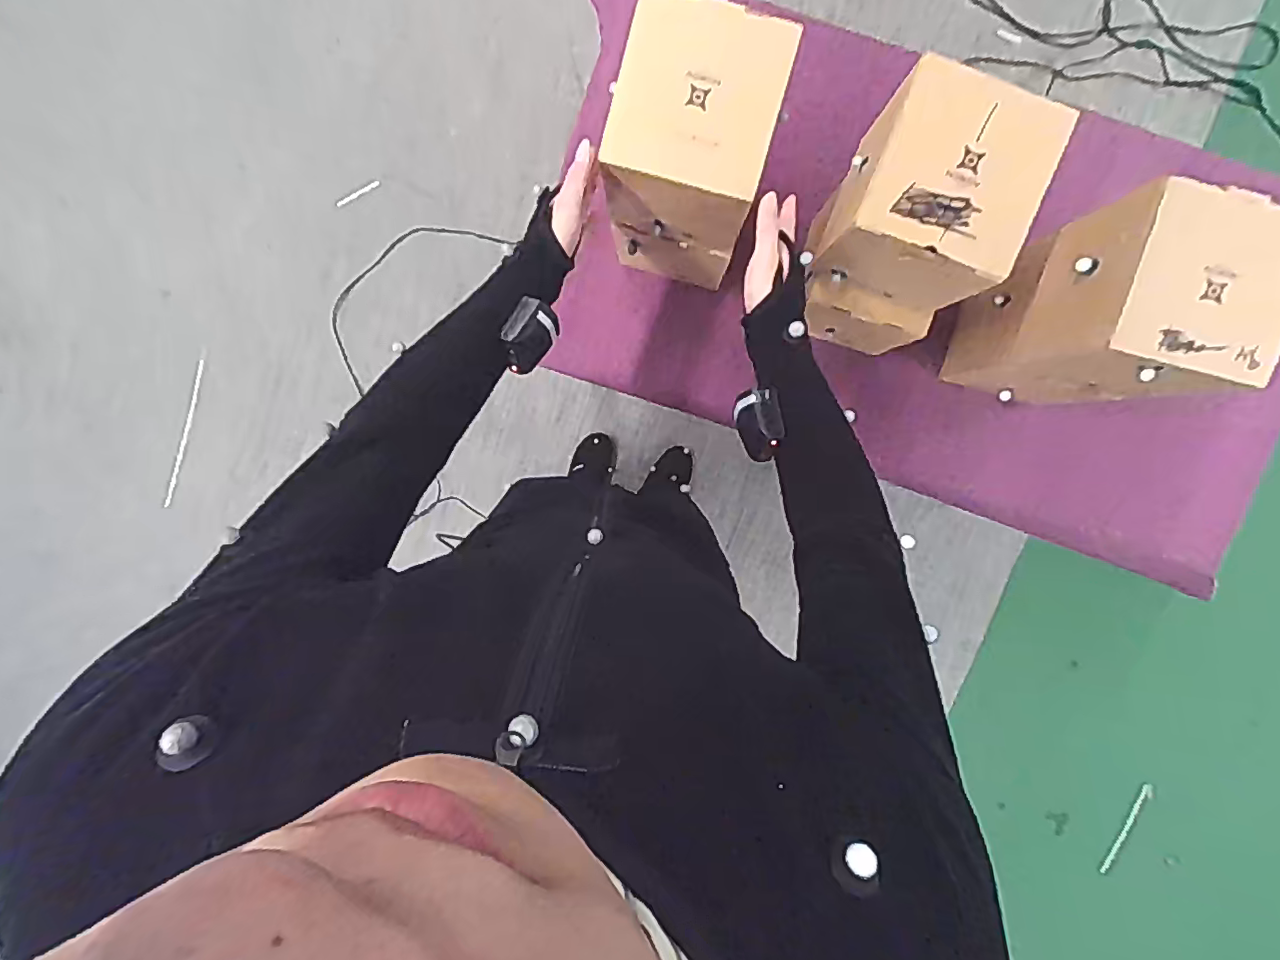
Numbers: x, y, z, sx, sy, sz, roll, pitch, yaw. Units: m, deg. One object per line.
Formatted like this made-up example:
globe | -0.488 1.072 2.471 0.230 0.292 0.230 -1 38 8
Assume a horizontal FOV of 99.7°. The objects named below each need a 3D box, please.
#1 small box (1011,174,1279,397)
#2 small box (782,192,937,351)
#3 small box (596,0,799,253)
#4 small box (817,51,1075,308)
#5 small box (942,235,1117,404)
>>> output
small box | 0.570 -0.203 0.615 0.168 0.176 0.179 15 94 1
small box | 0.321 -0.301 0.779 0.168 0.176 0.179 17 96 -1
small box | 0.057 -0.387 0.611 0.168 0.176 0.179 16 96 0
small box | 0.321 -0.316 0.613 0.168 0.176 0.179 21 95 -1
small box | 0.572 -0.217 0.778 0.168 0.176 0.179 16 95 1
